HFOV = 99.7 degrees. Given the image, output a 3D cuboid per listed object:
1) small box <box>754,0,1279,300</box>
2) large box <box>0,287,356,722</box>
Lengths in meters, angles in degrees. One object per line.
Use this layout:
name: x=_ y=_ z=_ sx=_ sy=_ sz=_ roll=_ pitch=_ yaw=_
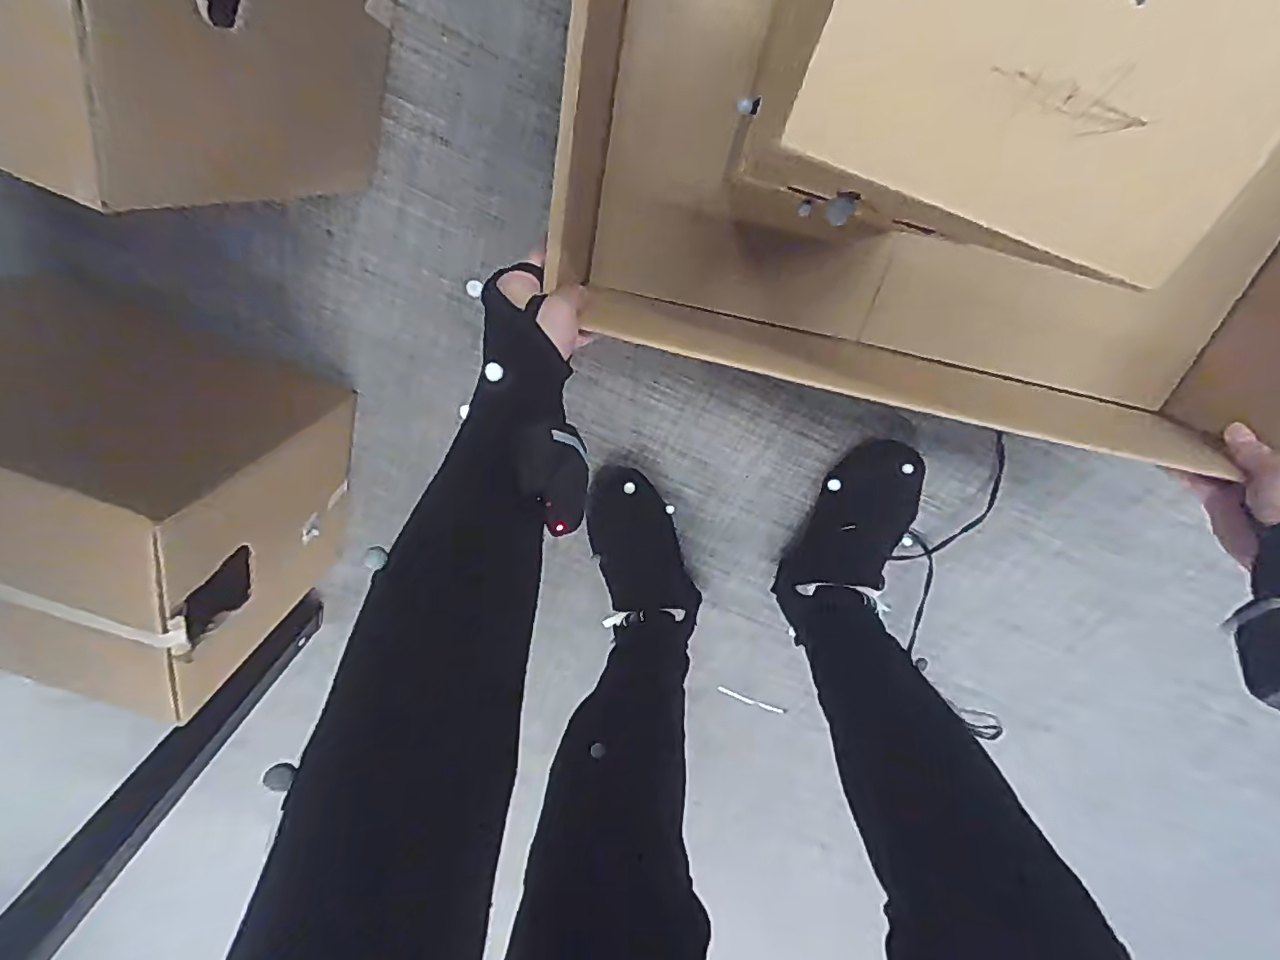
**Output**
small box: x=0.162 y=-0.209 z=0.245 sx=0.168 sy=0.176 sz=0.179 roll=19 pitch=120 yaw=-5
large box: x=-0.620 y=0.012 z=0.646 sx=0.408 sy=0.320 sz=0.320 roll=21 pitch=118 yaw=-4
